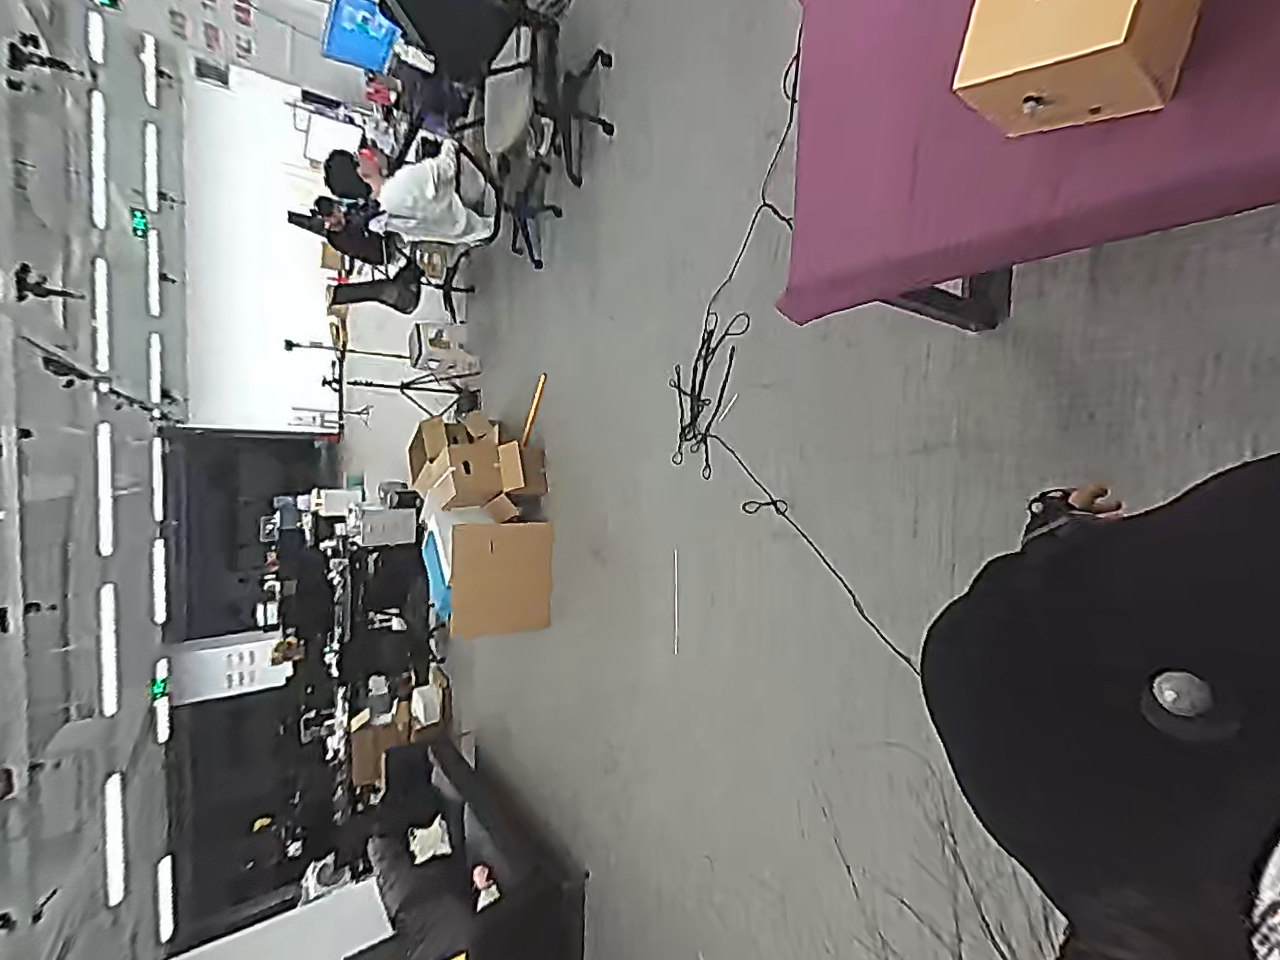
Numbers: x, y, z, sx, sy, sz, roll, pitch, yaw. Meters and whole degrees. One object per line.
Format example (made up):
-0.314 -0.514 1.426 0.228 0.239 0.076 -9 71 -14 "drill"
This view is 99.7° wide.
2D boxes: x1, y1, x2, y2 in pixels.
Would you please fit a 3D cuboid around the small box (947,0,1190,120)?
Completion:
0.484 -0.532 0.601 0.168 0.176 0.179 26 112 51 "small box"
